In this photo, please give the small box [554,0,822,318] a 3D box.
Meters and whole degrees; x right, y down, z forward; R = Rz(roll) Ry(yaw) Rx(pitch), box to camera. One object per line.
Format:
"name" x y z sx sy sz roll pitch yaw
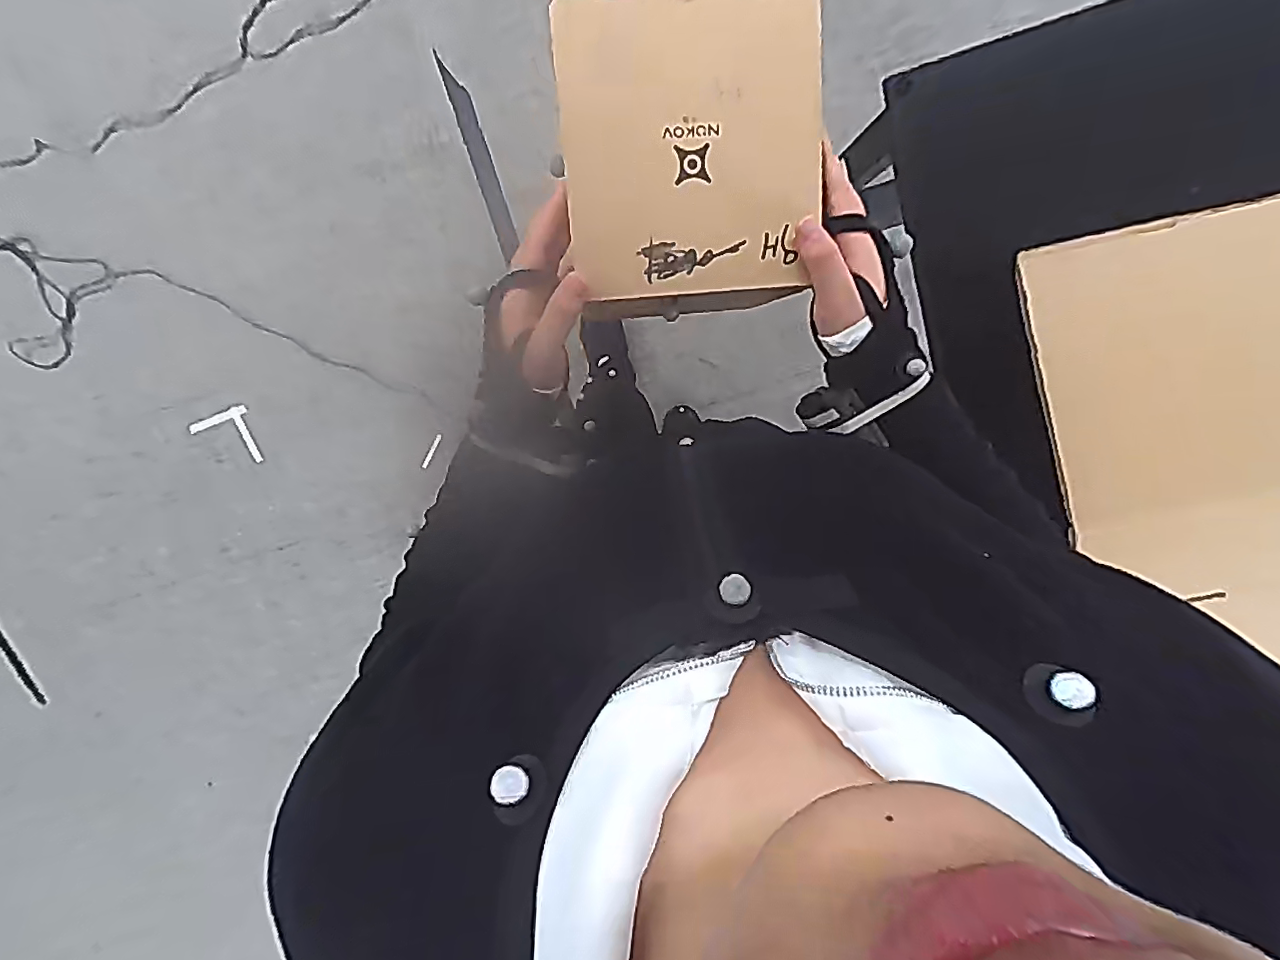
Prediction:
"small box" 0.029 -0.228 0.418 0.168 0.176 0.179 -5 102 -2
